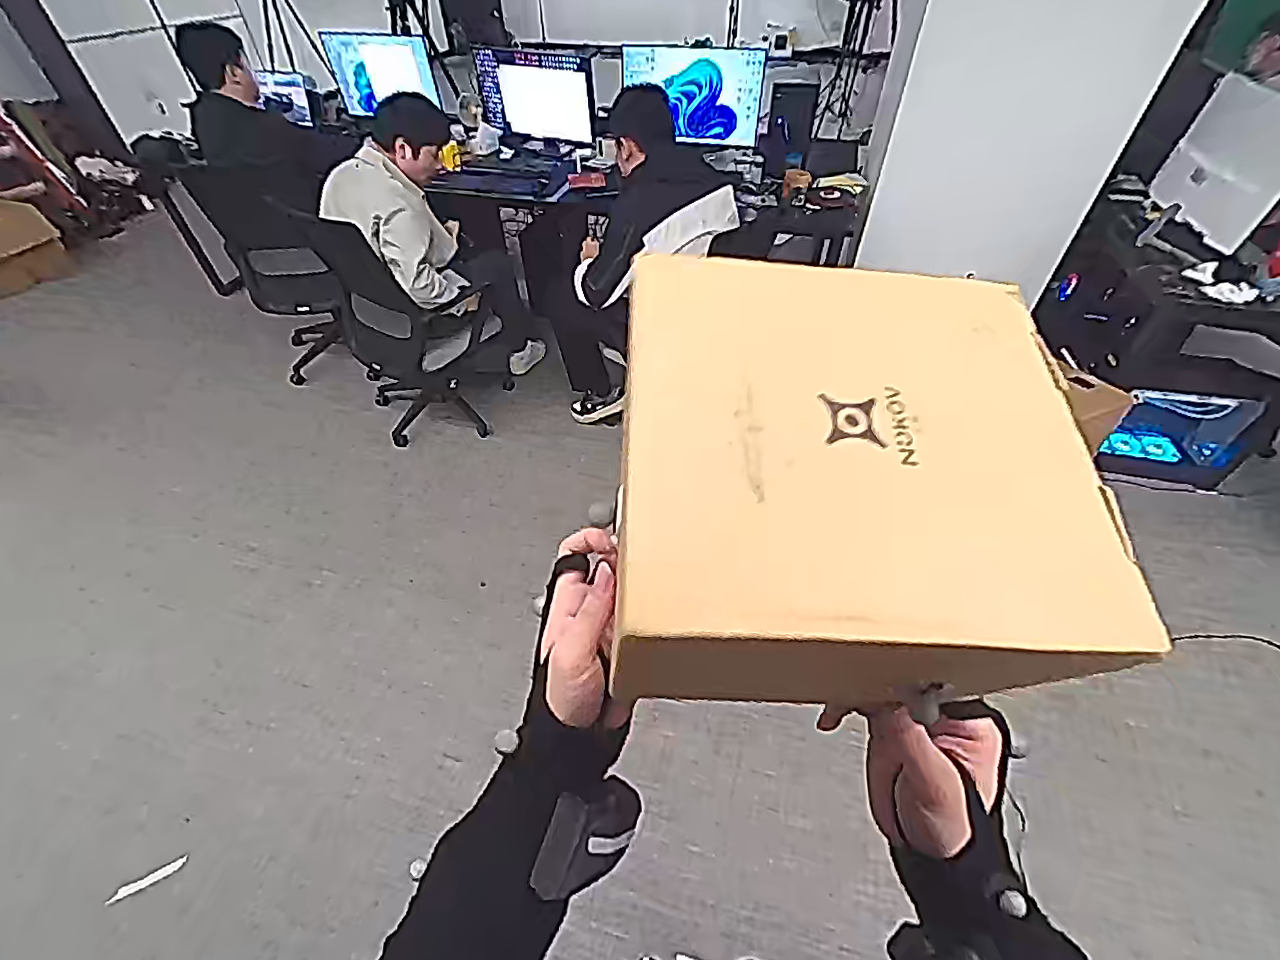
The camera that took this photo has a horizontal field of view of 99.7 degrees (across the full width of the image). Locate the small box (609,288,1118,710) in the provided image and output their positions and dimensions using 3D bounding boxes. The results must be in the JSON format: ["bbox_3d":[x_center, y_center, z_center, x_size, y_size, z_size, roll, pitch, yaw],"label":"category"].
[{"bbox_3d":[0.074,0.024,0.286,0.179,0.176,0.168,1,62,-2],"label":"small box"}]
